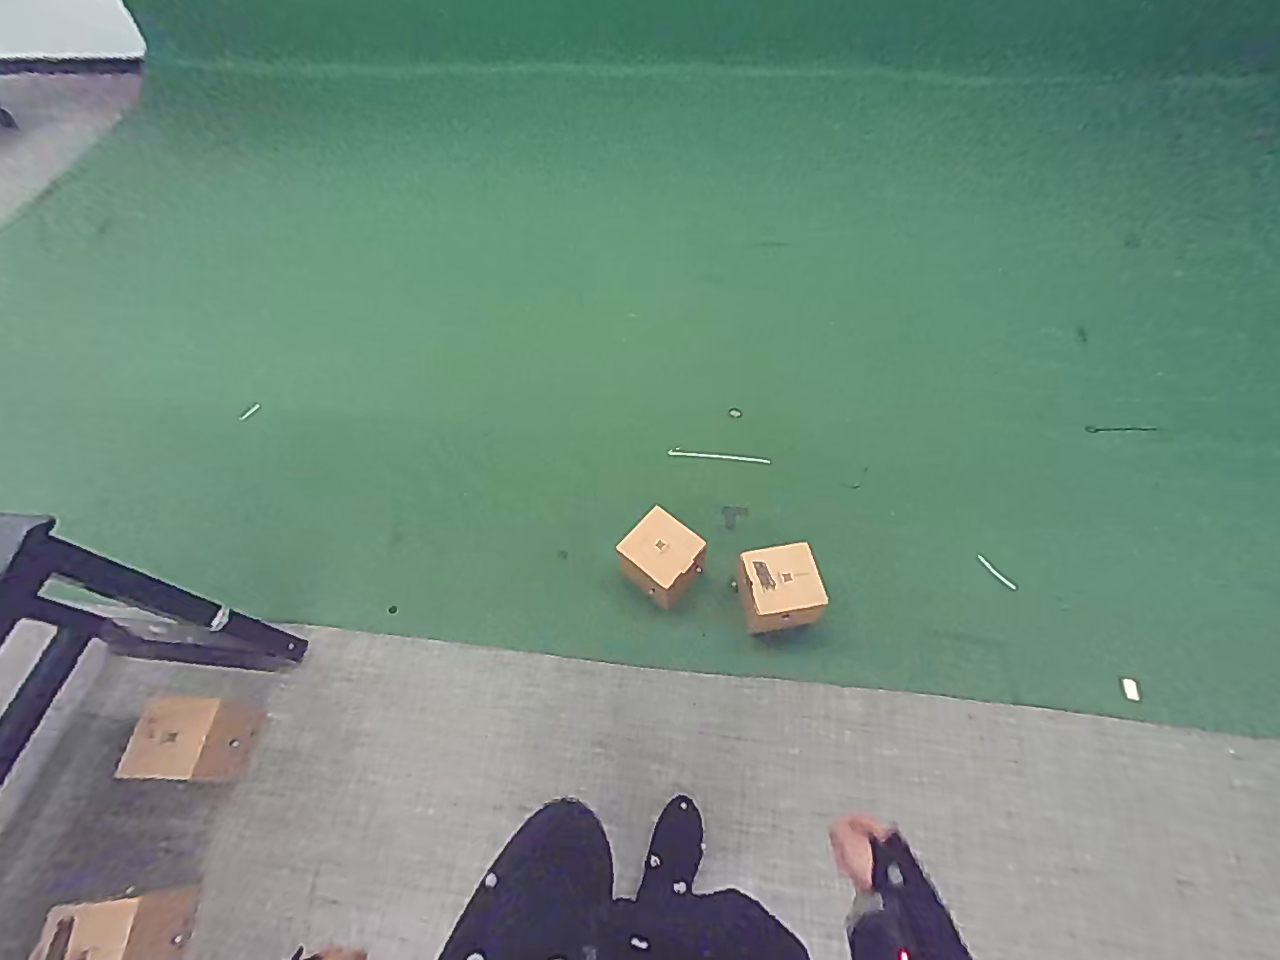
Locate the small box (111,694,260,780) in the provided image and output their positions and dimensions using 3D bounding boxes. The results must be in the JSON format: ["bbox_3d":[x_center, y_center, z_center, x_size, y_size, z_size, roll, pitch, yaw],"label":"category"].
[{"bbox_3d":[-1.039,0.601,1.258,0.179,0.176,0.168,1,59,3],"label":"small box"}]

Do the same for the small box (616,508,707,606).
[{"bbox_3d":[0.058,0.213,1.436,0.179,0.176,0.168,36,67,22],"label":"small box"}]

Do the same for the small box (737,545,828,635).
[{"bbox_3d":[0.353,0.285,1.381,0.179,0.176,0.168,-9,60,-3],"label":"small box"}]
